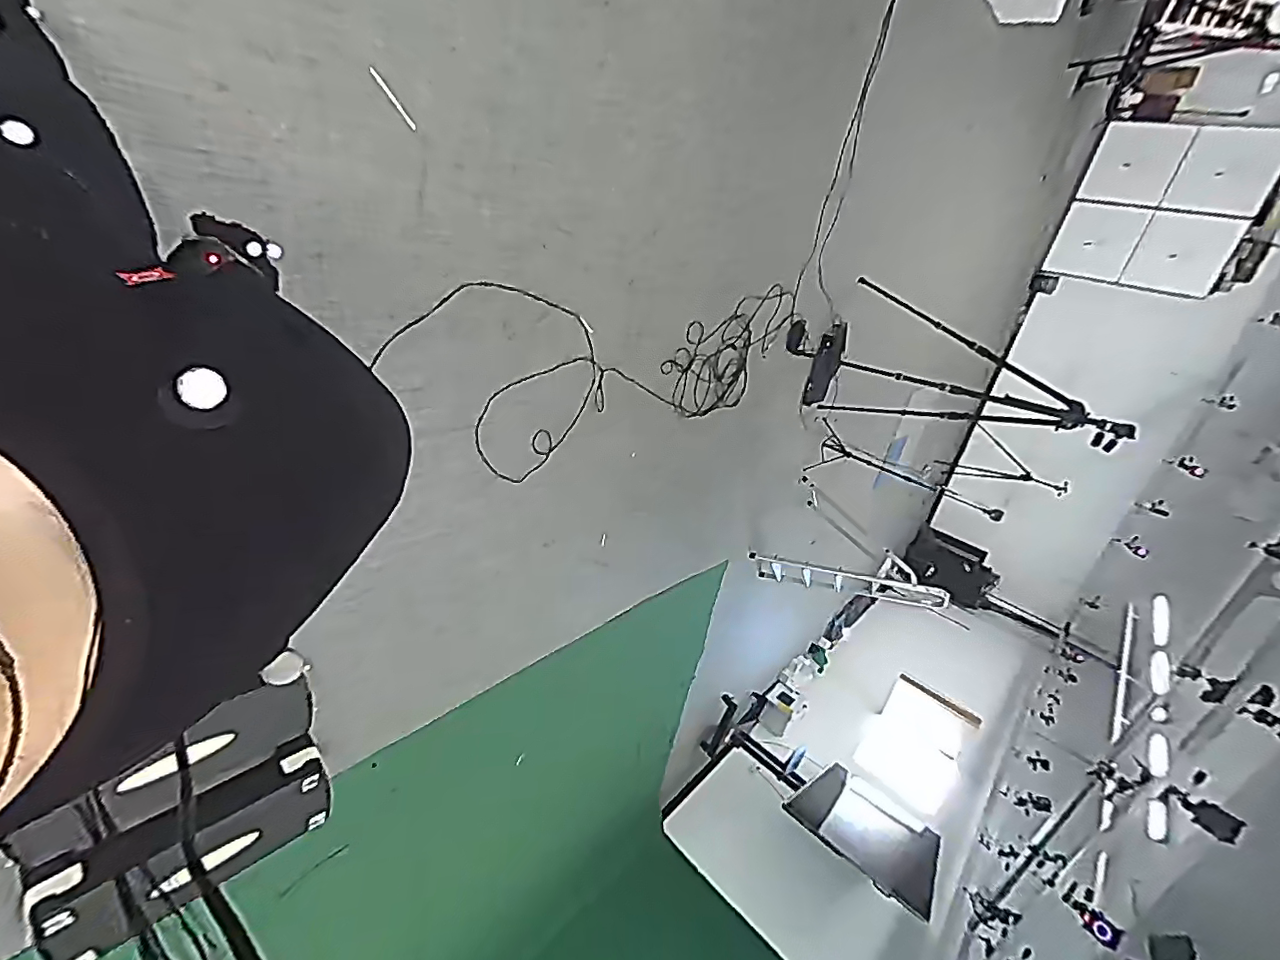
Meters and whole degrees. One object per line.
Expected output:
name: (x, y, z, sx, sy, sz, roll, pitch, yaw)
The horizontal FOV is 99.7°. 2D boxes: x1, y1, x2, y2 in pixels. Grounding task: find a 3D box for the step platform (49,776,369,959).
step platform: (-1.155, 1.163, 1.520, 0.684, 0.204, 0.286, -19, 128, -46)
